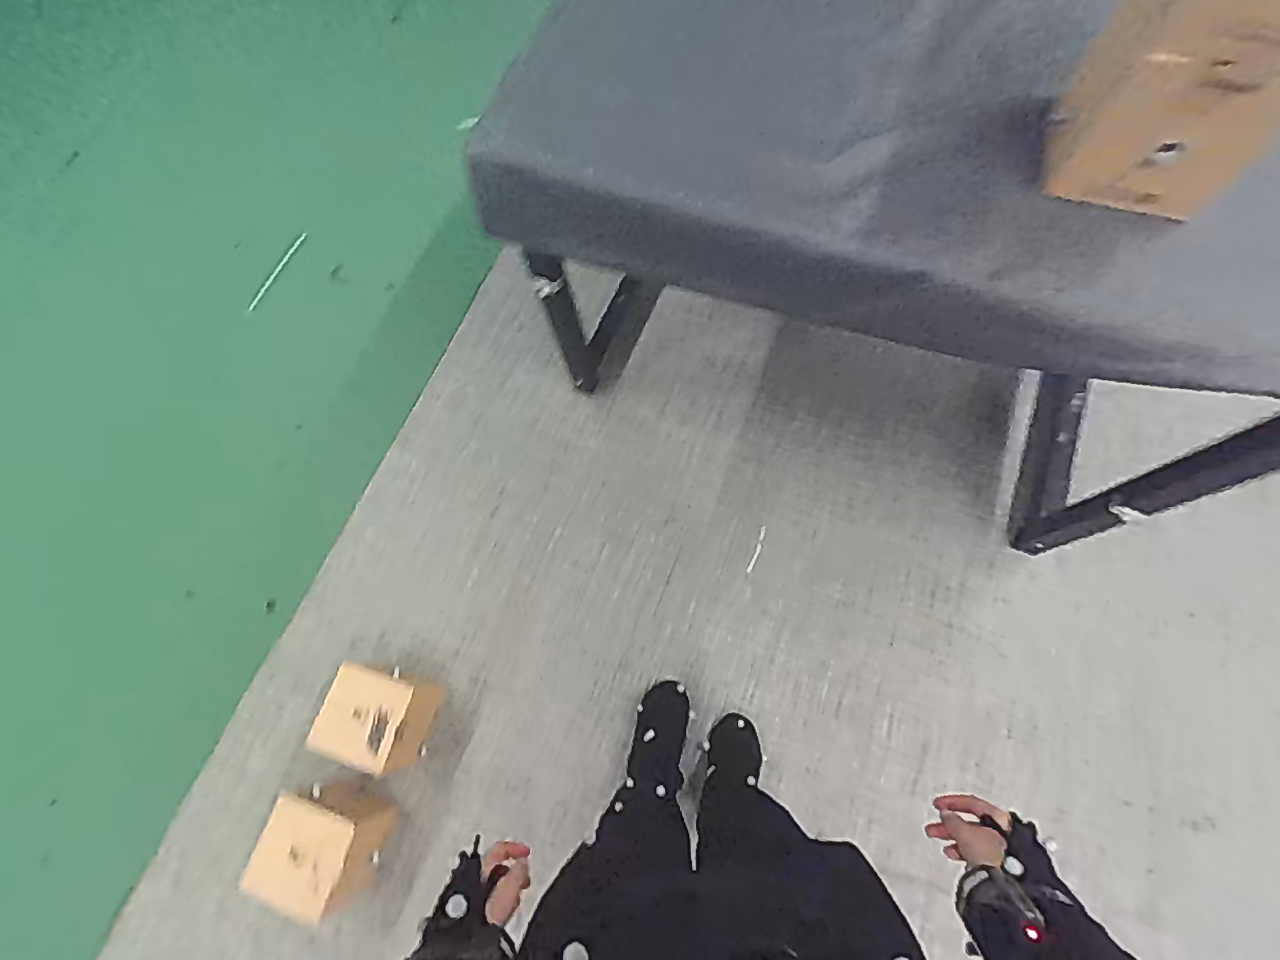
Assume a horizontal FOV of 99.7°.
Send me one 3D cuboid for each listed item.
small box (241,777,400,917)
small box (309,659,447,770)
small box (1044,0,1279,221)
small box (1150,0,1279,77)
[{"bbox_3d":[-0.625,0.715,1.080,0.179,0.176,0.168,15,73,10],"label":"small box"},{"bbox_3d":[-0.545,0.491,1.154,0.179,0.176,0.168,15,72,11],"label":"small box"},{"bbox_3d":[0.599,-0.430,0.610,0.168,0.176,0.179,18,73,11],"label":"small box"},{"bbox_3d":[0.590,-0.483,0.456,0.168,0.176,0.179,21,73,11],"label":"small box"}]
